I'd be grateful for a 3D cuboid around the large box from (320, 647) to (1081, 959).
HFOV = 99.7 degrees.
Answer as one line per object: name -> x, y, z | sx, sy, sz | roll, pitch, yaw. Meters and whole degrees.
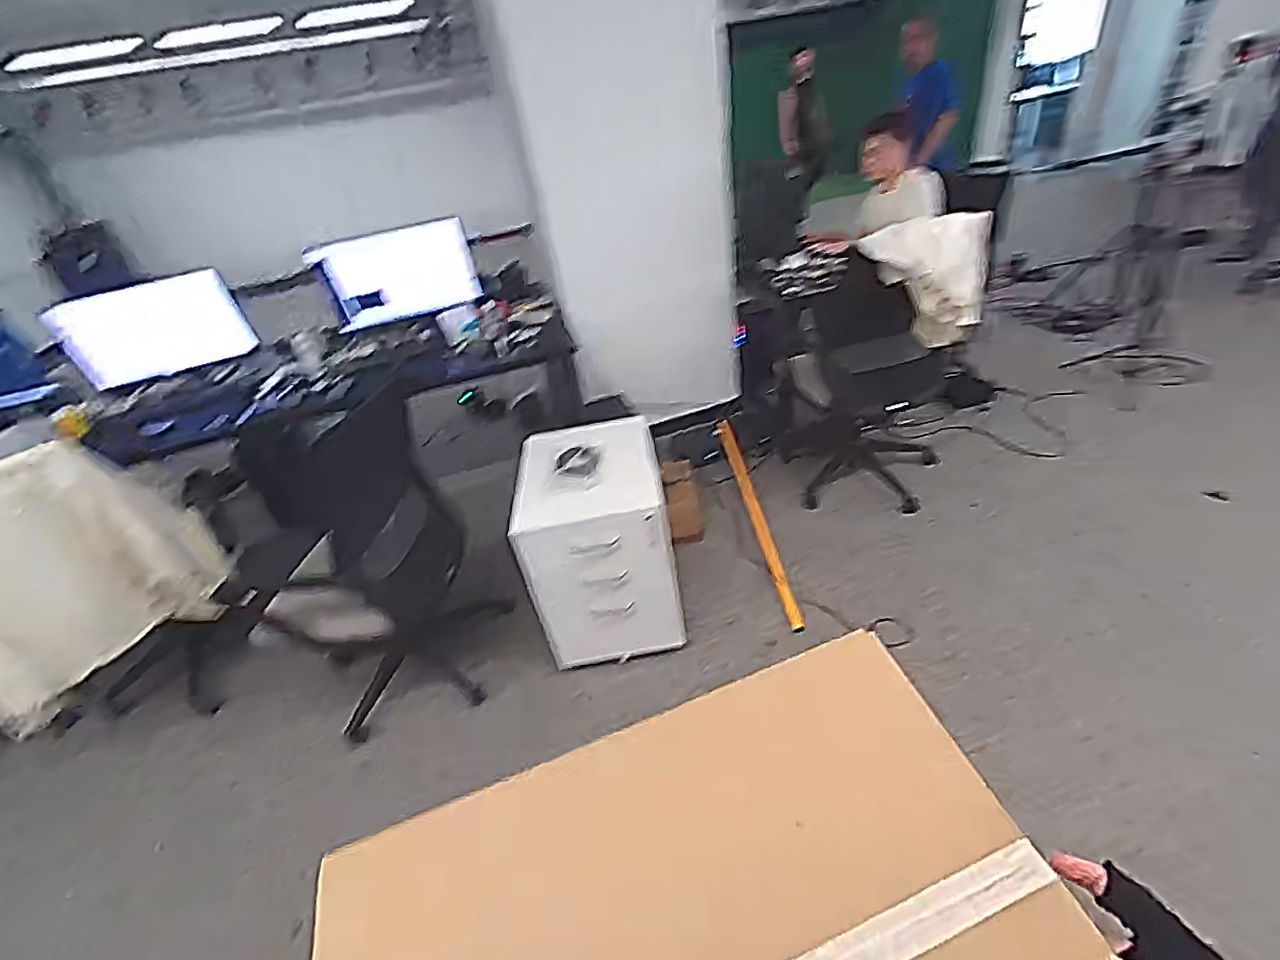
large box -> 0.054, 0.392, 0.387 | 0.408, 0.320, 0.320 | -20, 46, -9
